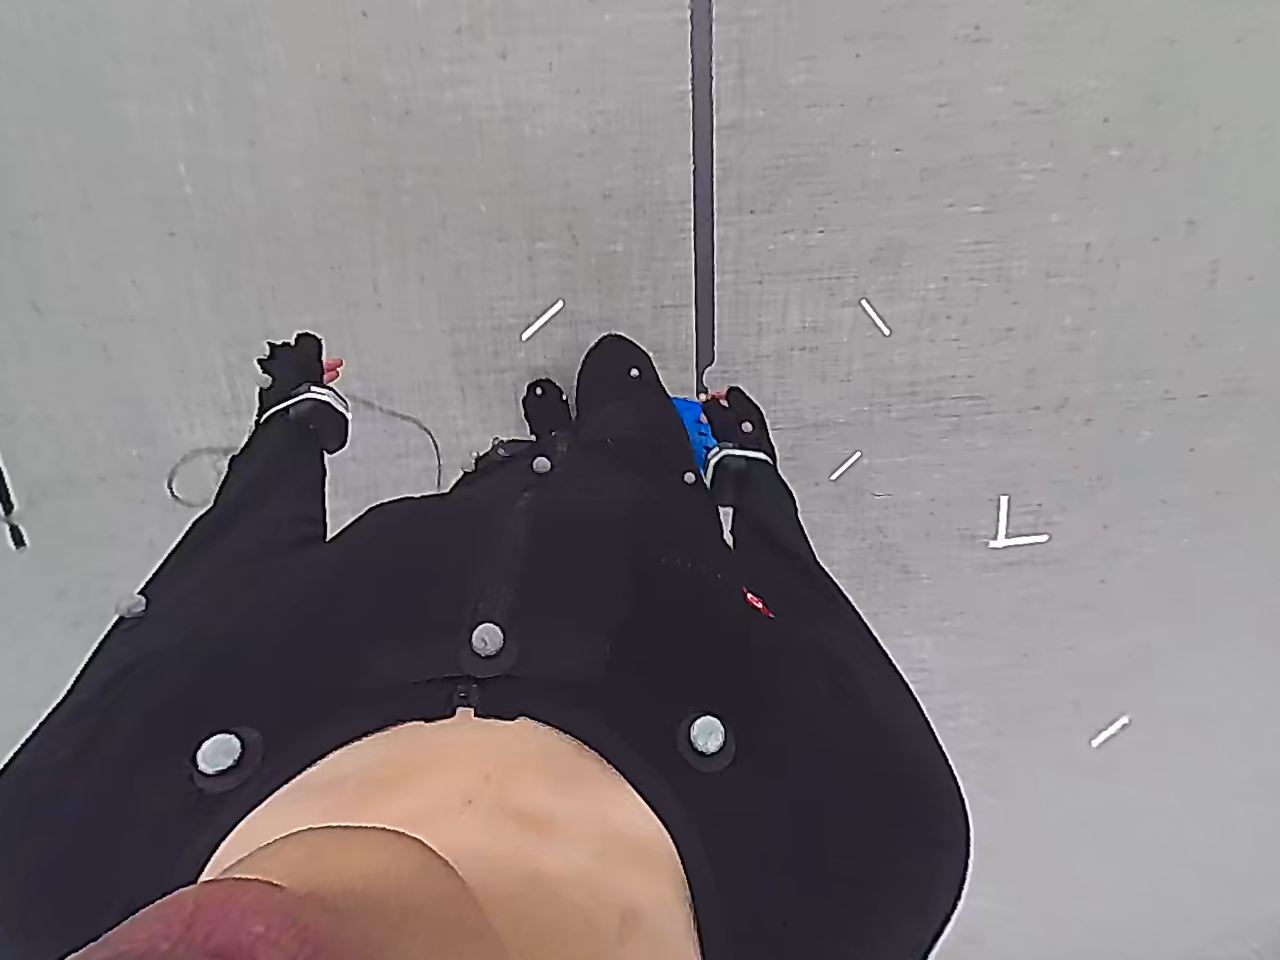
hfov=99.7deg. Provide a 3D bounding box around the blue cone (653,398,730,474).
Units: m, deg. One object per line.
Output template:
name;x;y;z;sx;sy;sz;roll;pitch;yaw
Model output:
blue cone;0.147;-0.075;1.293;0.192;0.380;0.193;12;103;-7
